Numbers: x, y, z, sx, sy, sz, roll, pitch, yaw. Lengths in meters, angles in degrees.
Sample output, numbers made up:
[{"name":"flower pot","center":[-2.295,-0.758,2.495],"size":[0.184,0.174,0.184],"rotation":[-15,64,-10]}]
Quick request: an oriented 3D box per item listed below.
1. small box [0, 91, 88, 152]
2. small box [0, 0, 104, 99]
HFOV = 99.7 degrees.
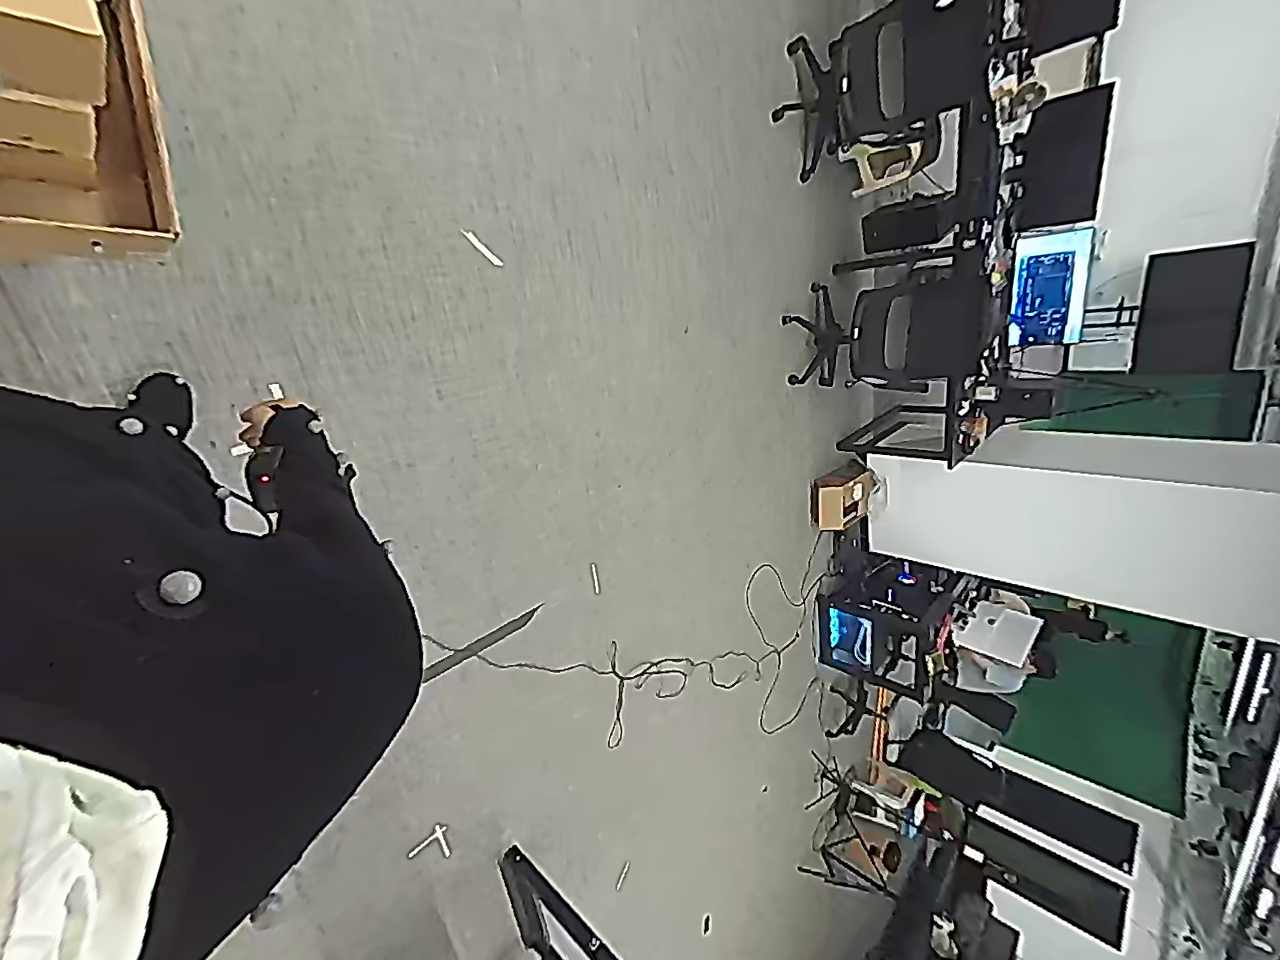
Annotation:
[{"name":"small box","center":[-0.749,-0.495,0.601],"size":[0.168,0.176,0.179],"rotation":[-16,107,-43]},{"name":"small box","center":[-0.631,-0.478,0.488],"size":[0.179,0.176,0.168],"rotation":[-19,109,-43]}]
